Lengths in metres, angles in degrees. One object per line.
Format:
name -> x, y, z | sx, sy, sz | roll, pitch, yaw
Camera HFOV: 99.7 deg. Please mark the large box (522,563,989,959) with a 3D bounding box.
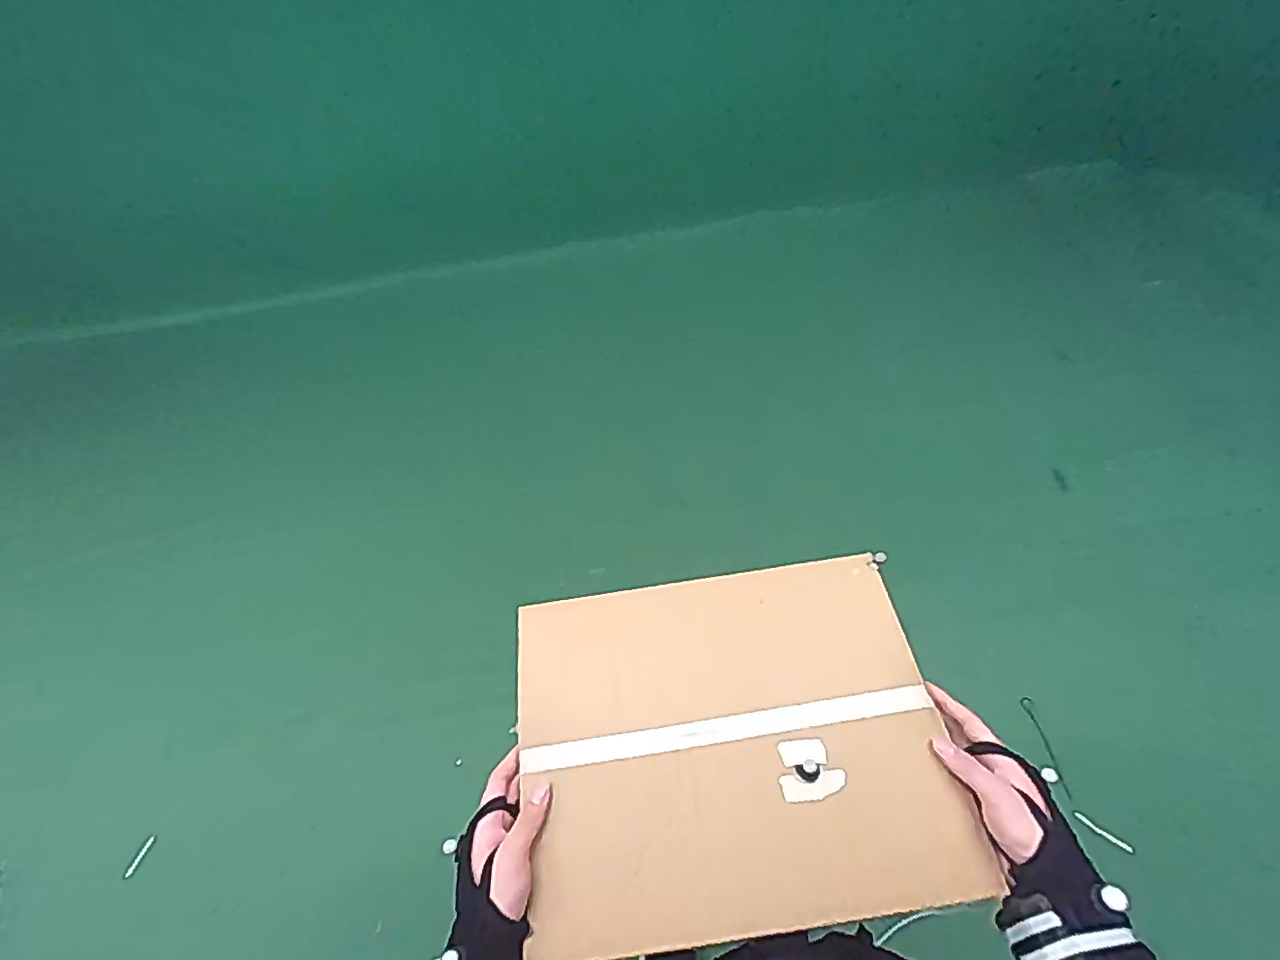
large box -> 0.093, 0.335, 0.660 | 0.408, 0.320, 0.320 | -9, 57, -1
